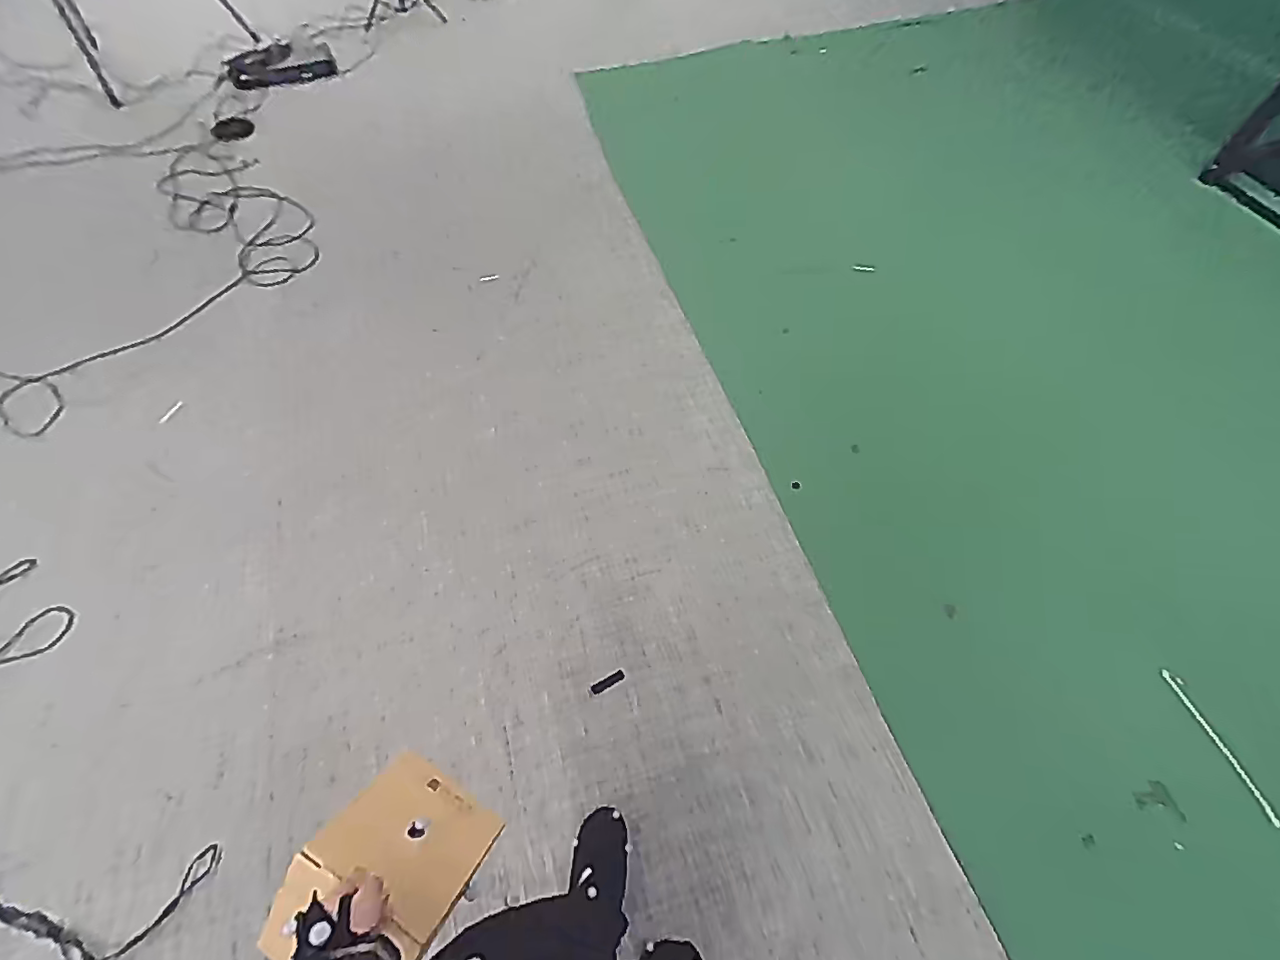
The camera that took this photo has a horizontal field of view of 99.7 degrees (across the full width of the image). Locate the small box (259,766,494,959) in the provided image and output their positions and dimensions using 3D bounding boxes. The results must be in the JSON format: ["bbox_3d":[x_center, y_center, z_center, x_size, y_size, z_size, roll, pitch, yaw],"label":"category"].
[{"bbox_3d":[-0.301,0.494,0.651,0.168,0.176,0.179,29,105,8],"label":"small box"}]
